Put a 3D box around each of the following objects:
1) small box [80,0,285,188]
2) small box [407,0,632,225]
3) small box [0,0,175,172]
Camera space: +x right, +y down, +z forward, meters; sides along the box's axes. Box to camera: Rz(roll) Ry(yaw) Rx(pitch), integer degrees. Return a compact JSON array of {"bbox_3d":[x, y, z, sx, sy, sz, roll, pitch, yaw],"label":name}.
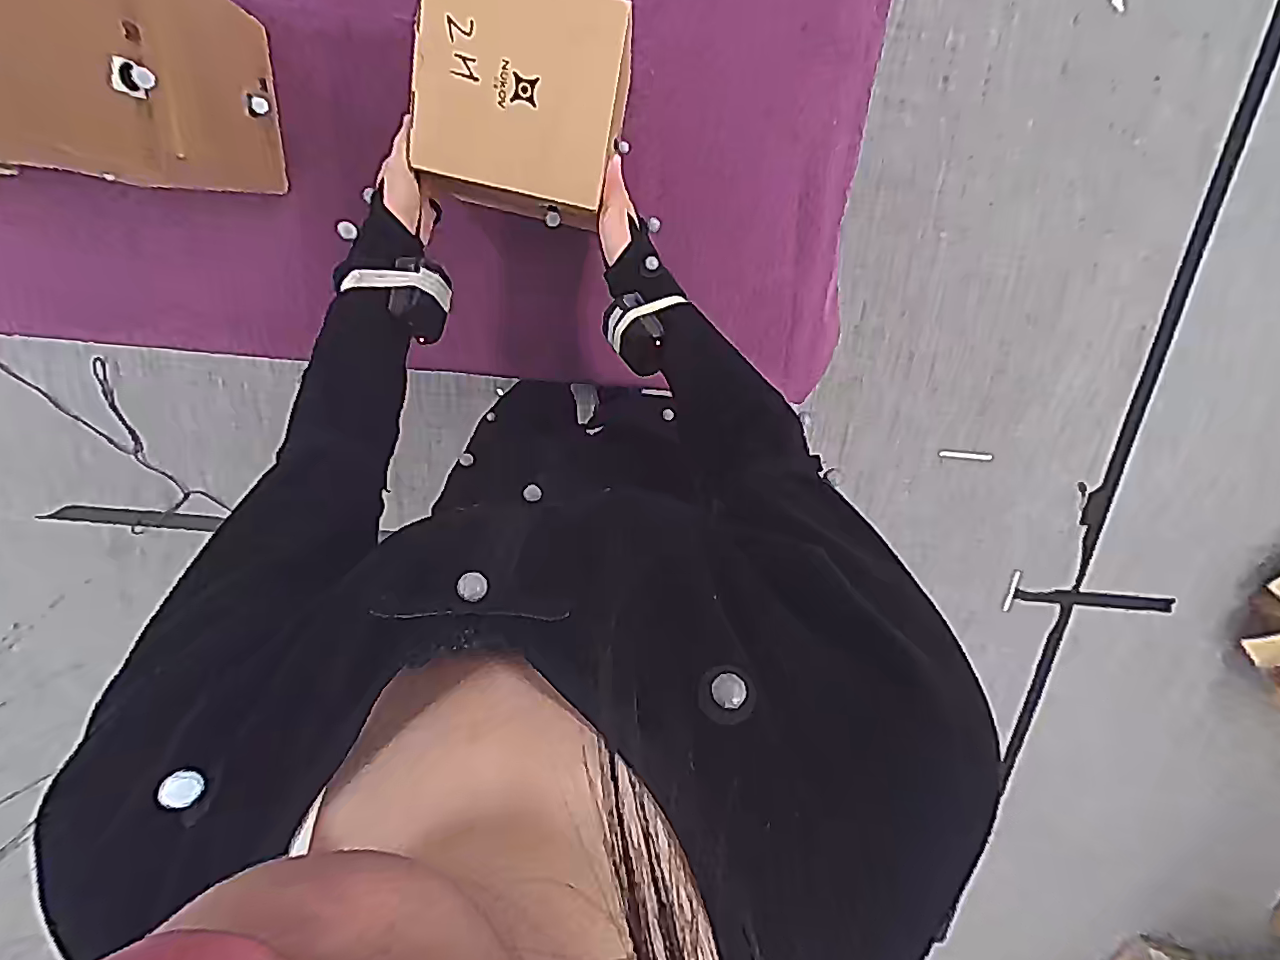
[{"bbox_3d":[-0.492,-0.394,0.527,0.179,0.176,0.168,2,109,-3],"label":"small box"},{"bbox_3d":[-0.110,-0.368,0.546,0.179,0.176,0.168,11,107,-5],"label":"small box"},{"bbox_3d":[-0.490,-0.330,0.378,0.179,0.176,0.168,4,110,-5],"label":"small box"}]
